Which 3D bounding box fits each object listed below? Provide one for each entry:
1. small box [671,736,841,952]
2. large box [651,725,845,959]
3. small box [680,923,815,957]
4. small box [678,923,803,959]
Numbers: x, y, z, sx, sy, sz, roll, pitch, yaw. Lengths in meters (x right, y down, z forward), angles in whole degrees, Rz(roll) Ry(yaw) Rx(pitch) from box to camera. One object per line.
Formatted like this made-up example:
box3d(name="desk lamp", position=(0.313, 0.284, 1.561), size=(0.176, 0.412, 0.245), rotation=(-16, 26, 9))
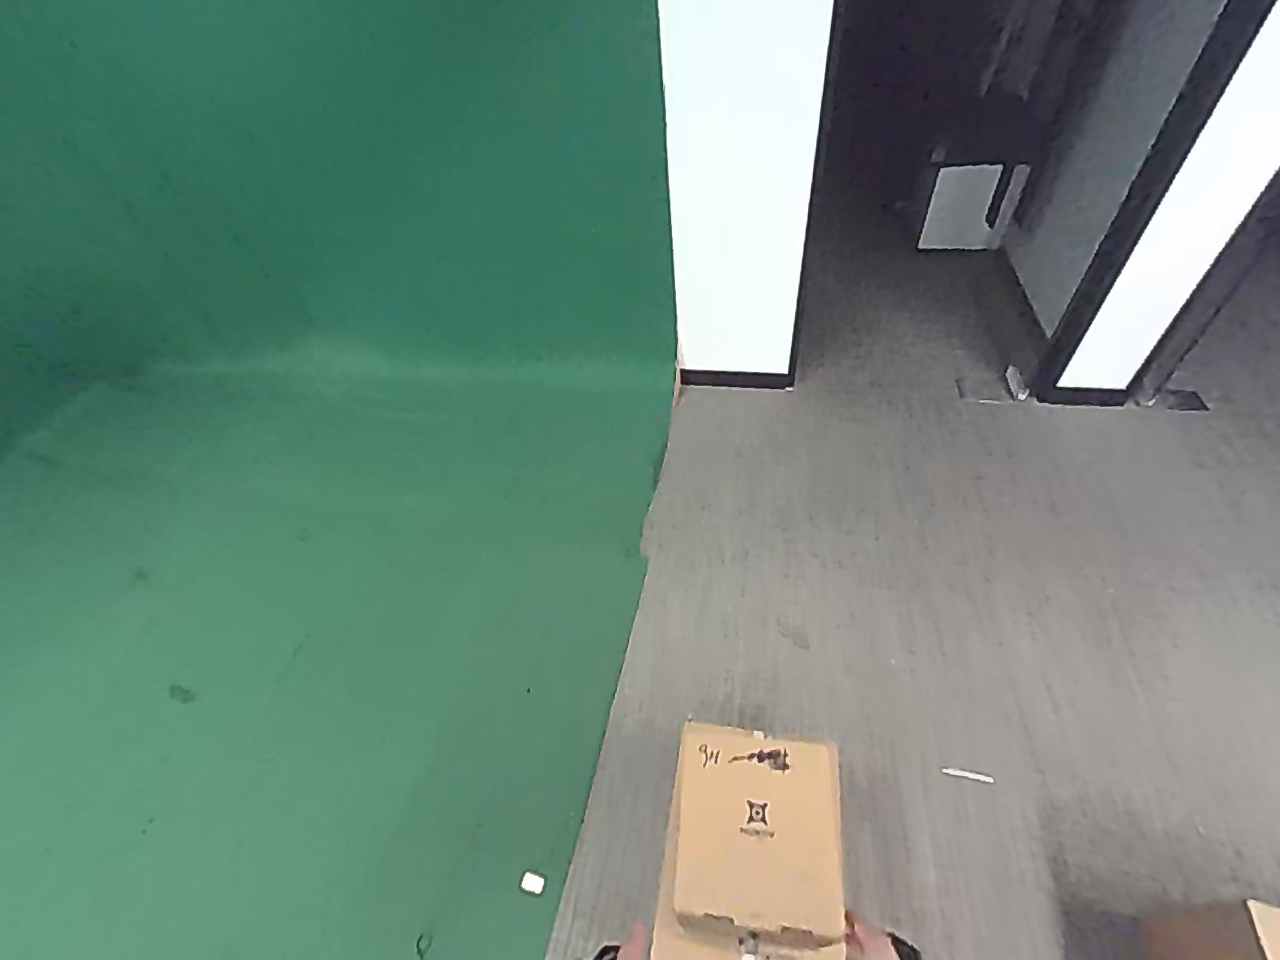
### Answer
box3d(name="small box", position=(0.132, 0.427, 0.634), size=(0.168, 0.176, 0.179), rotation=(2, 47, 10))
box3d(name="large box", position=(0.217, 0.773, 1.087), size=(0.320, 0.320, 0.408), rotation=(5, 47, 12))
box3d(name="small box", position=(0.147, 0.539, 0.754), size=(0.168, 0.176, 0.179), rotation=(1, 46, 8))
box3d(name="small box", position=(0.162, 0.656, 0.868), size=(0.179, 0.176, 0.168), rotation=(3, 47, 12))
